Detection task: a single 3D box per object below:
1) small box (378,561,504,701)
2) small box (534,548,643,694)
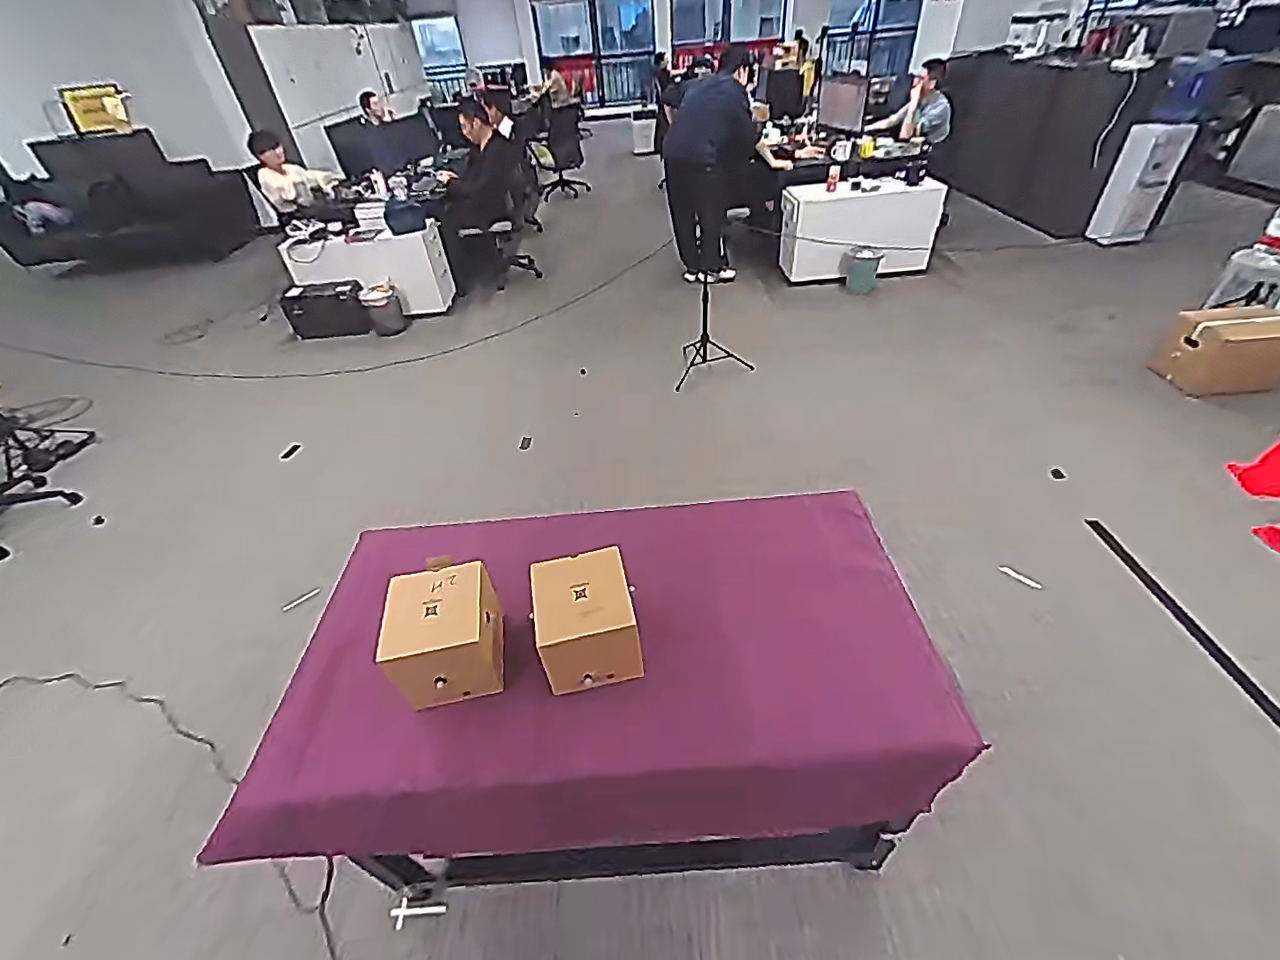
[{"bbox_3d":[-0.346,0.278,0.978,0.168,0.176,0.179,-9,40,-6],"label":"small box"},{"bbox_3d":[-0.094,0.255,0.981,0.168,0.176,0.179,-11,41,-6],"label":"small box"}]
